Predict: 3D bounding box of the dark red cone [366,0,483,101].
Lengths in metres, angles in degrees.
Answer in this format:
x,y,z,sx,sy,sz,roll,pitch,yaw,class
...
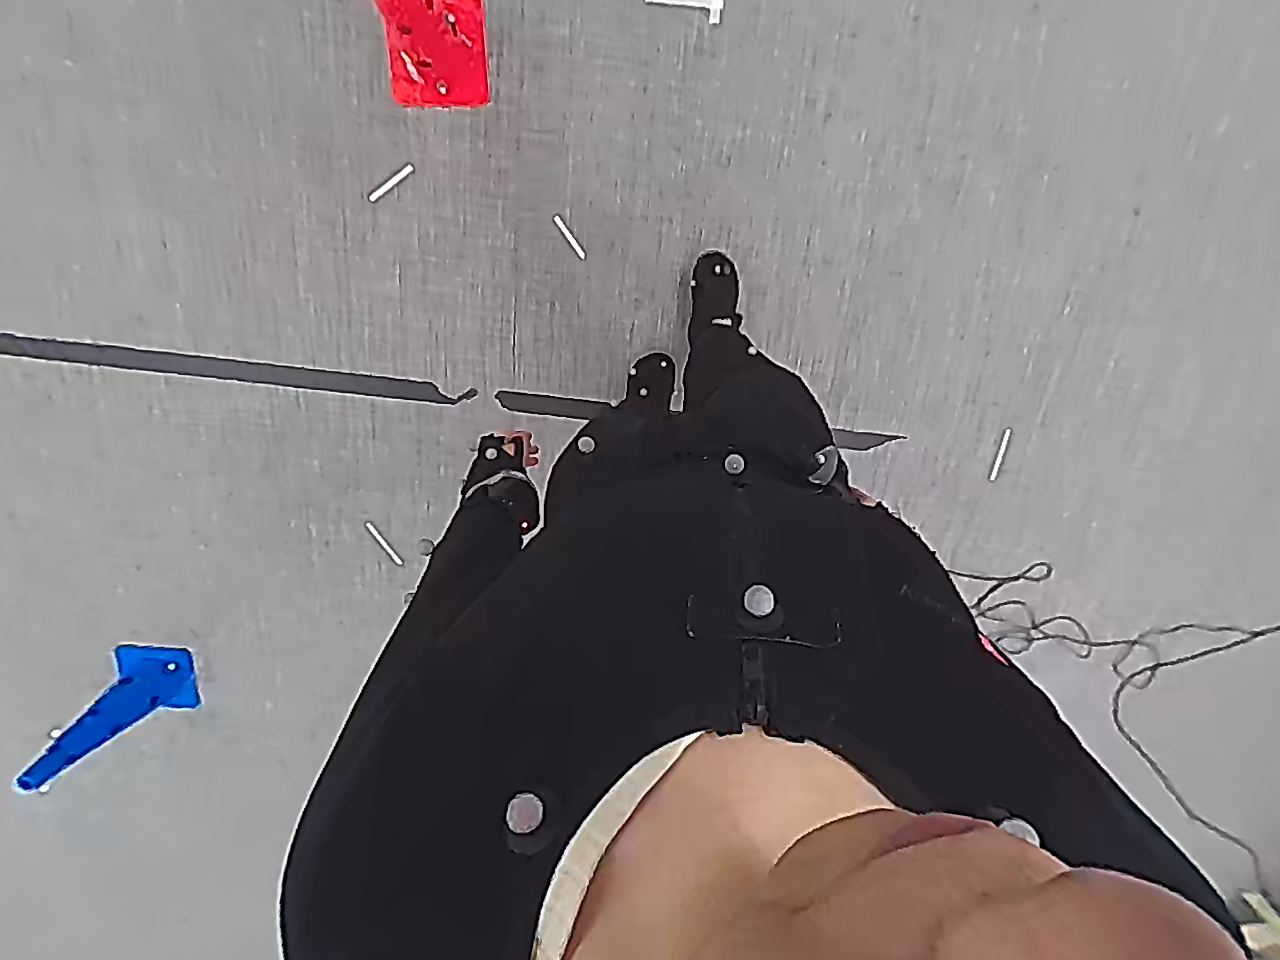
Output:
x,y,z,sx,sy,sz,roll,pitch,yaw,class
-0.409,-0.809,0.904,0.202,0.394,0.201,-2,108,-2,dark red cone

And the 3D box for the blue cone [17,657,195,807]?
x,y,z,sx,sy,sz,roll,pitch,yaw,class
-1.335,0.624,1.339,0.193,0.380,0.192,6,108,-4,blue cone
